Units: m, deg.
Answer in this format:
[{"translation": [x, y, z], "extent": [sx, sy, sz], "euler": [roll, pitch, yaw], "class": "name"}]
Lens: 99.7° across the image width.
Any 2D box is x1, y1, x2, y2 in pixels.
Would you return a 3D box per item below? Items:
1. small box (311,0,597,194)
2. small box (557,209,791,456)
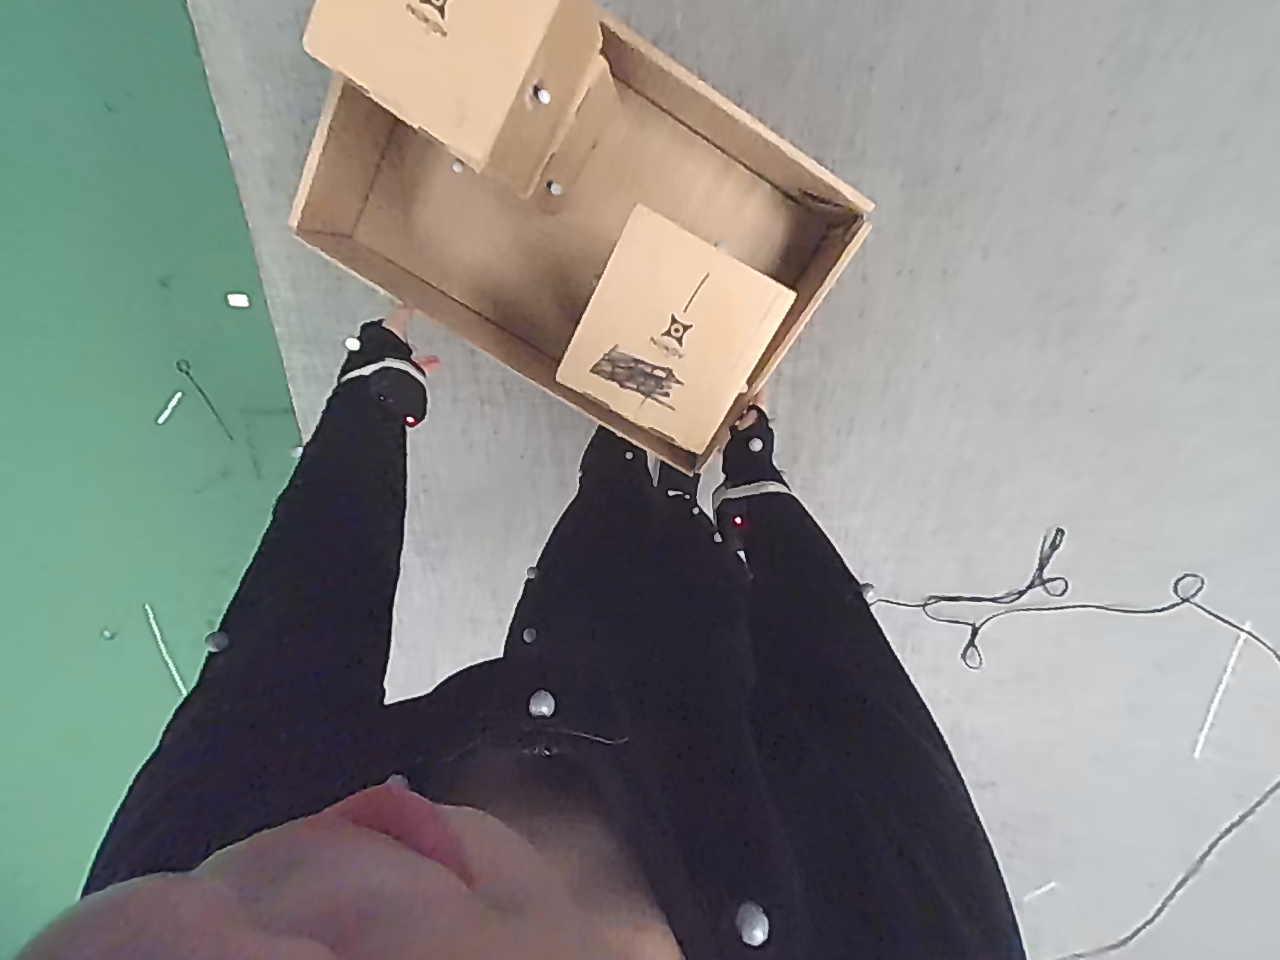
[{"translation": [-0.153, -0.400, 0.504], "extent": [0.168, 0.176, 0.179], "euler": [33, 108, -10], "class": "small box"}, {"translation": [0.034, -0.157, 0.584], "extent": [0.168, 0.176, 0.179], "euler": [28, 109, -8], "class": "small box"}]
